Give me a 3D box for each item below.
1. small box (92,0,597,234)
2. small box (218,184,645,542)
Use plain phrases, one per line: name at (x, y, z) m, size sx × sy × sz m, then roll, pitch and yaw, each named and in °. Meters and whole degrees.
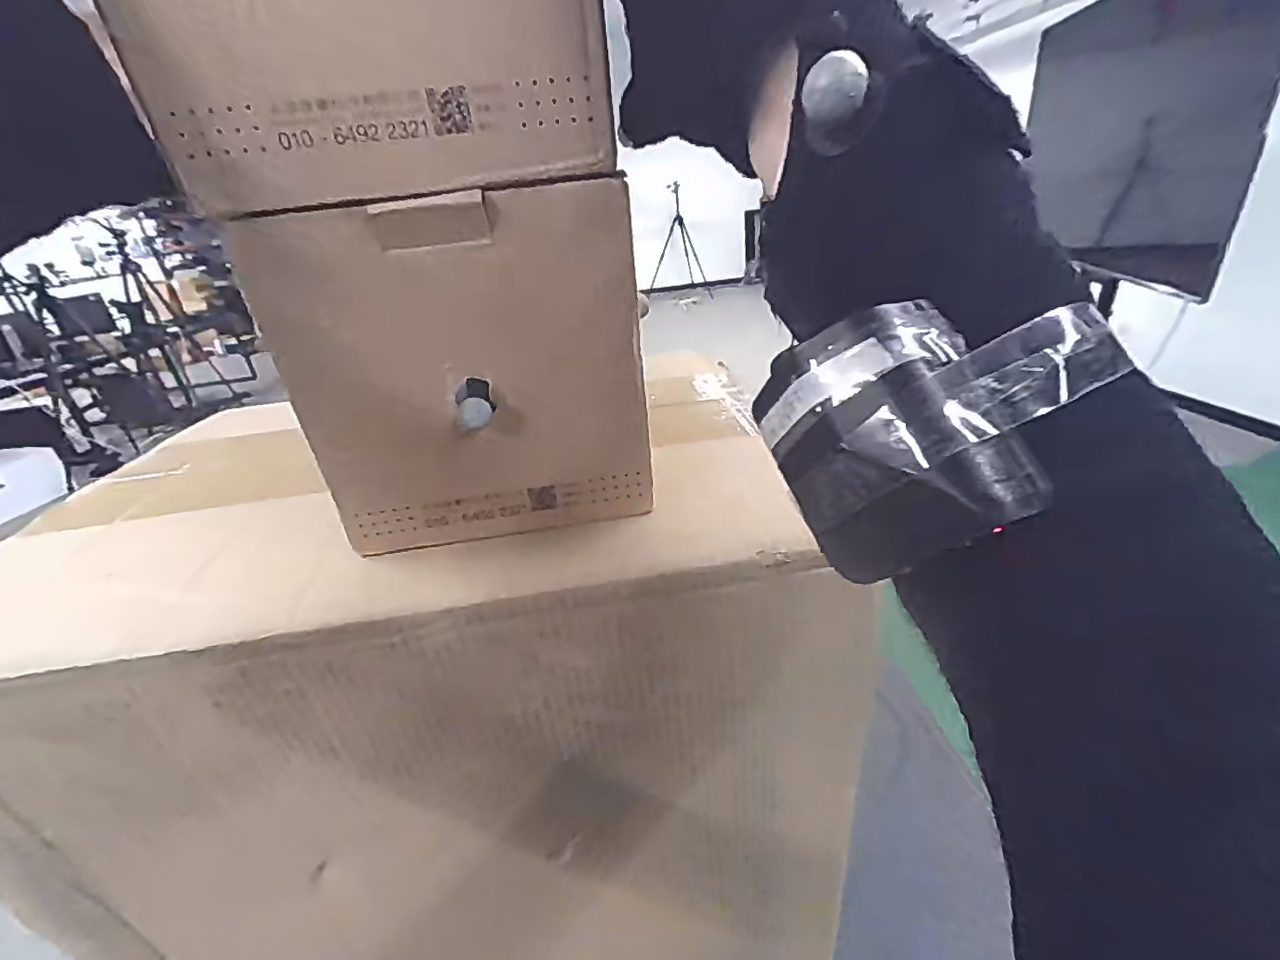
small box at (-0.114, -0.214, 0.250) m, size 0.168 × 0.176 × 0.179 m, roll -8°, pitch 29°, yaw -6°
small box at (-0.093, -0.075, 0.333) m, size 0.168 × 0.176 × 0.179 m, roll -8°, pitch 31°, yaw -4°
